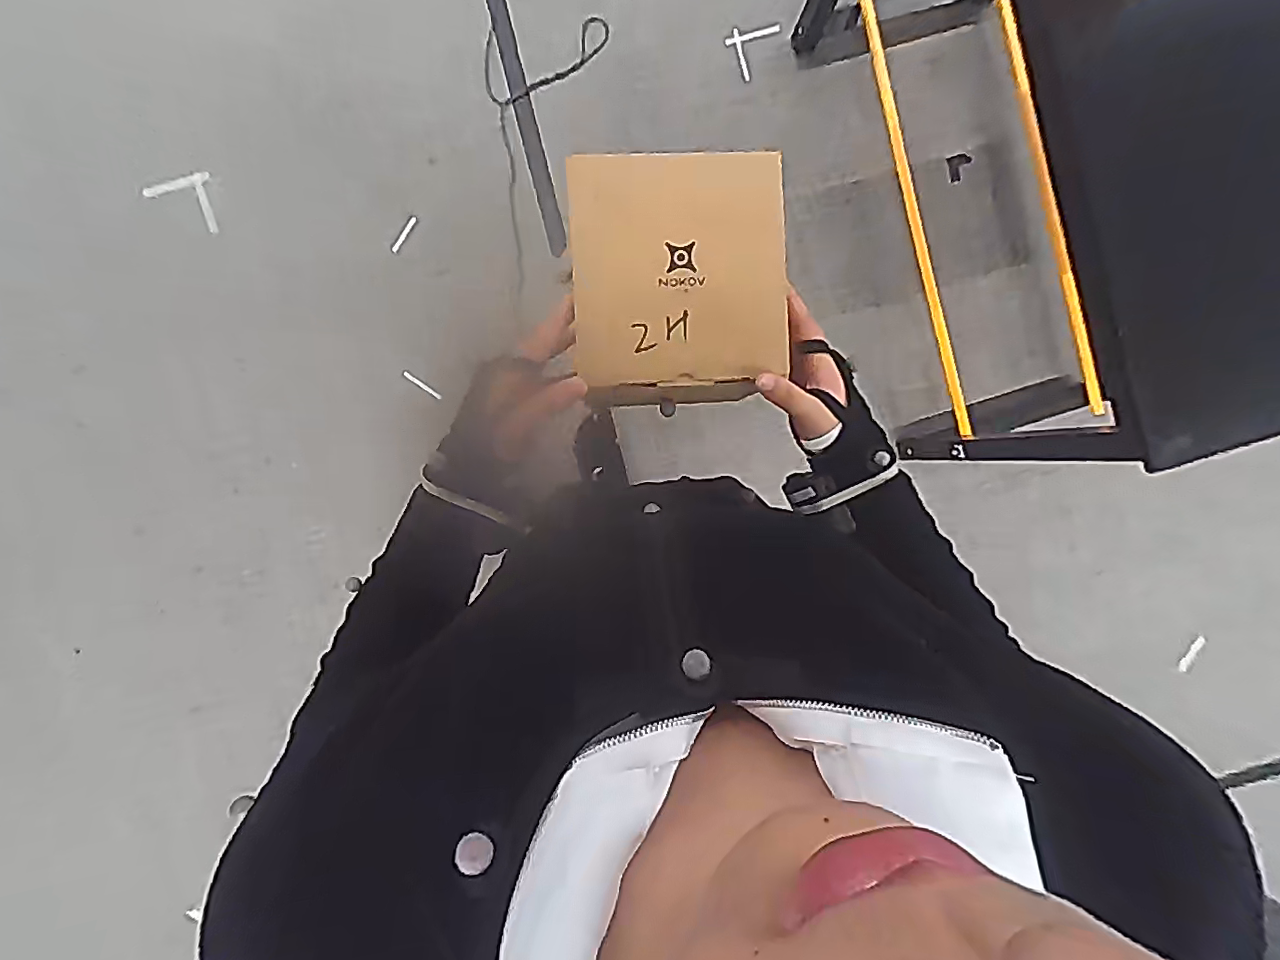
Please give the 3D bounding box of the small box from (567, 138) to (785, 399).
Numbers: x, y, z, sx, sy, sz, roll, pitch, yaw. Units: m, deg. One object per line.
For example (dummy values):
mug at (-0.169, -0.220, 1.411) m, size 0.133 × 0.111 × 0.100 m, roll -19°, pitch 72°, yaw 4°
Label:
small box at (0.023, -0.173, 0.490) m, size 0.168 × 0.176 × 0.179 m, roll -3°, pitch 93°, yaw -3°
